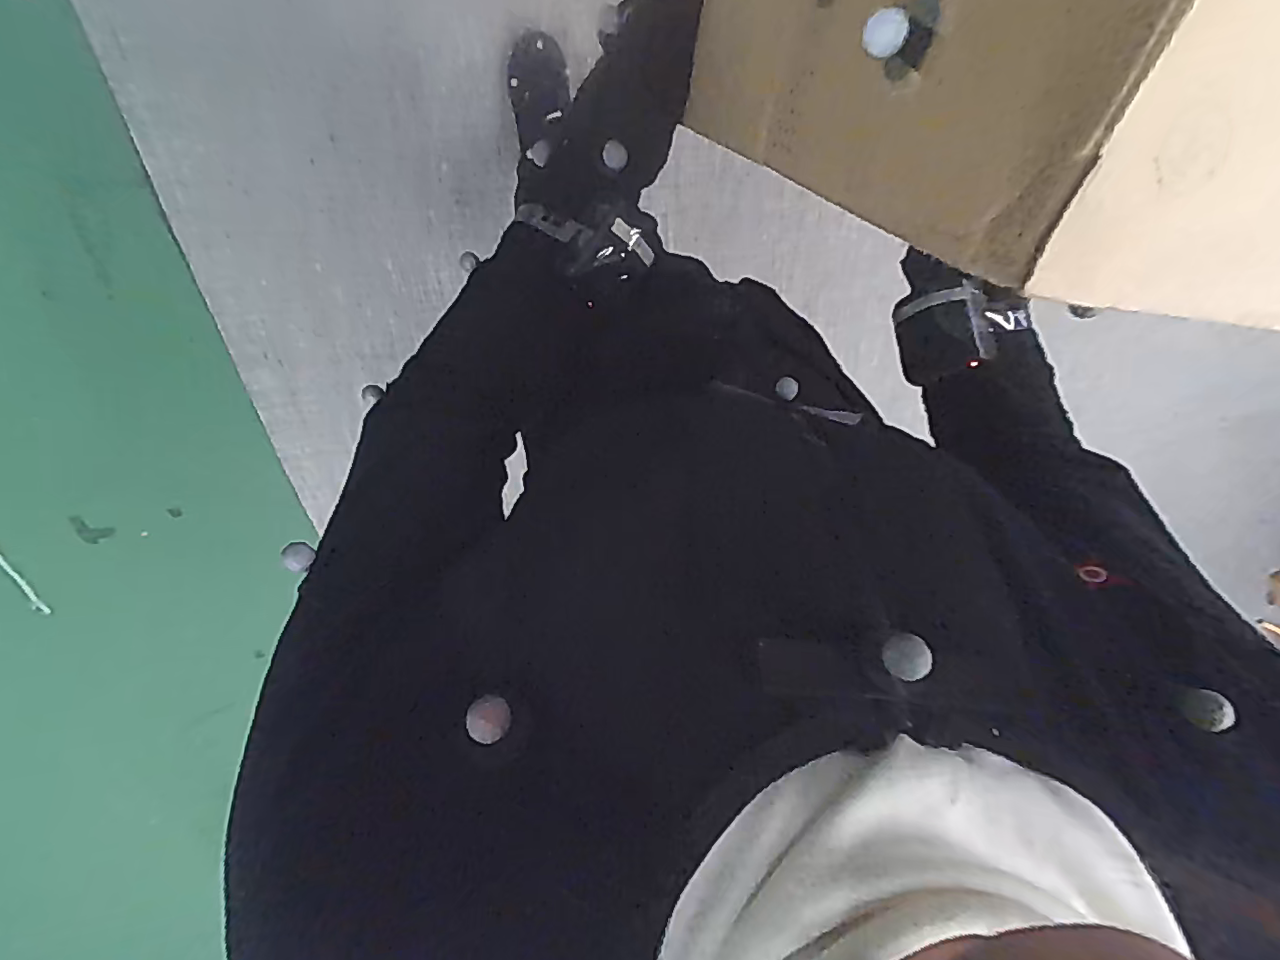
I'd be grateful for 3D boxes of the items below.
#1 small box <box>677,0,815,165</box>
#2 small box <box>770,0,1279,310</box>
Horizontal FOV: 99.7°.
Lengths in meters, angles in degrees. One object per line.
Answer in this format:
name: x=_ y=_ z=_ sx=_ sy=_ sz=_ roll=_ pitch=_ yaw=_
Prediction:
small box: x=0.125 y=-0.271 z=0.276 sx=0.168 sy=0.176 sz=0.179 roll=-2 pitch=131 yaw=-15
small box: x=0.164 y=-0.163 z=0.159 sx=0.179 sy=0.176 sz=0.168 roll=-1 pitch=131 yaw=-17
